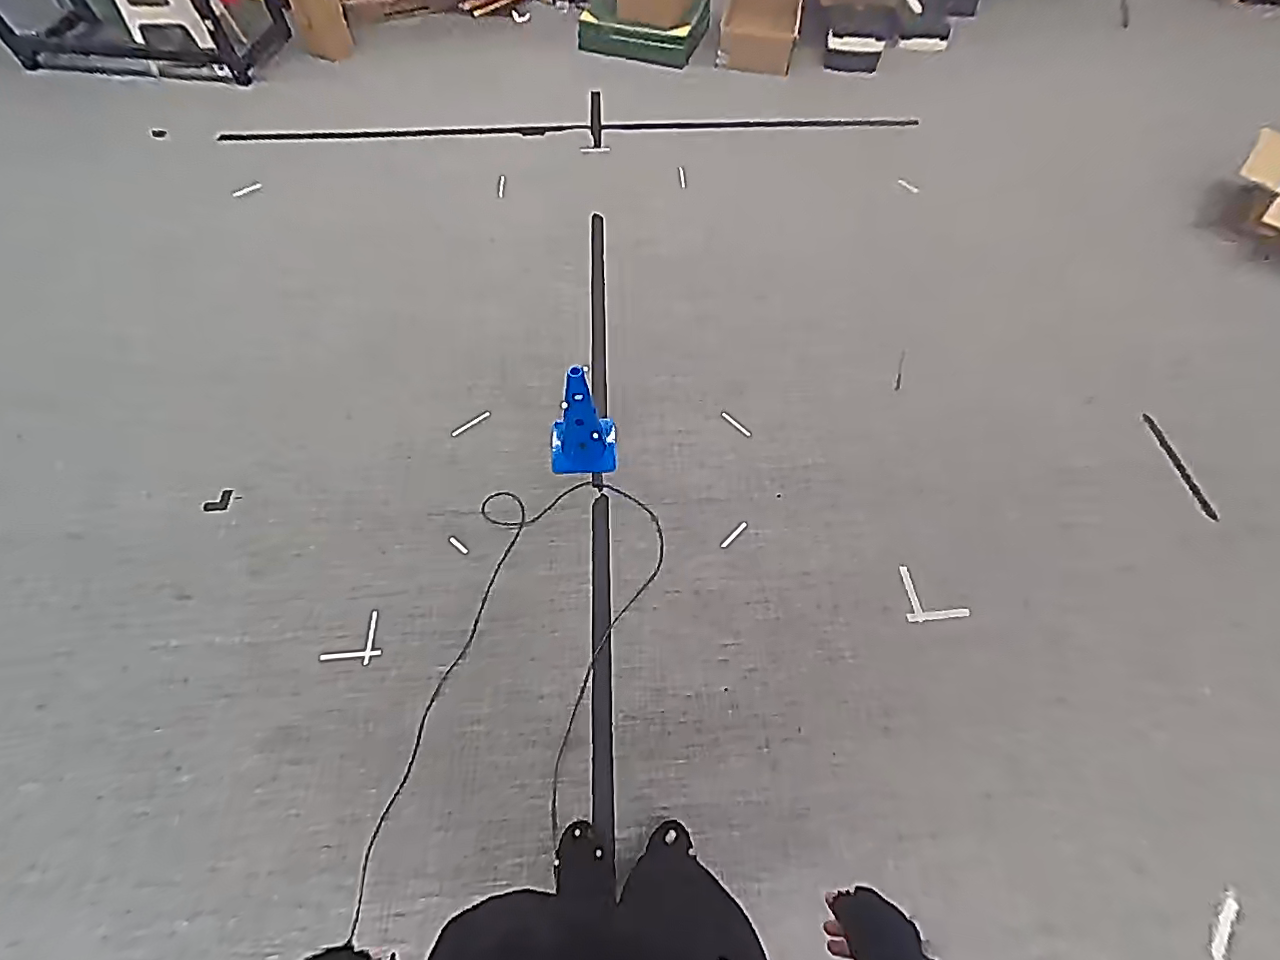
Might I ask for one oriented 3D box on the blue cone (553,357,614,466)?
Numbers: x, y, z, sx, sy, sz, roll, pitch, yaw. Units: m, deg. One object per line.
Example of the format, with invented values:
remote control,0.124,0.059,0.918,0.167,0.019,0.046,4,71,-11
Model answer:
blue cone,-0.175,-0.205,1.543,0.193,0.380,0.192,-3,61,-2
